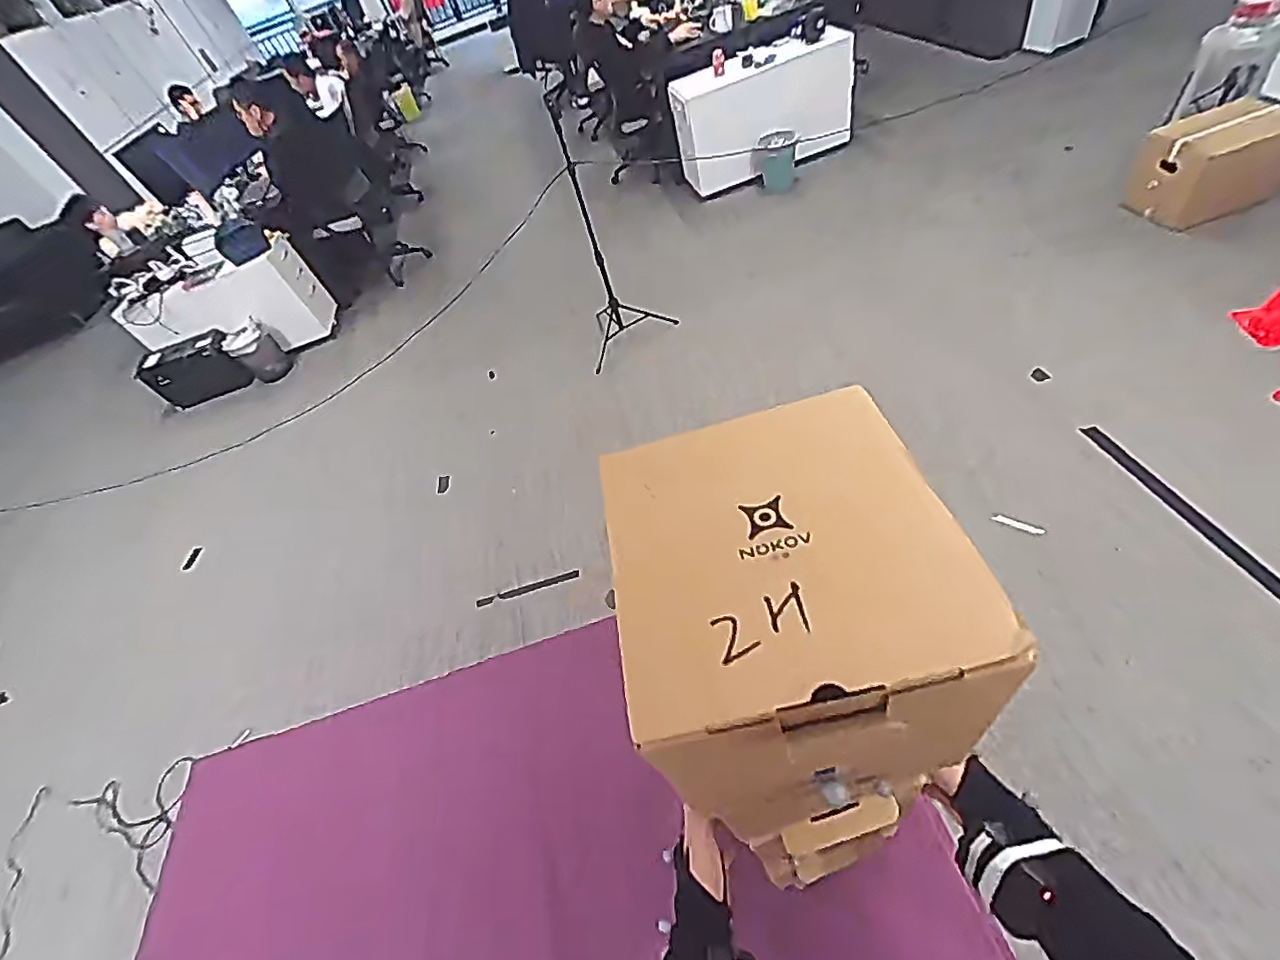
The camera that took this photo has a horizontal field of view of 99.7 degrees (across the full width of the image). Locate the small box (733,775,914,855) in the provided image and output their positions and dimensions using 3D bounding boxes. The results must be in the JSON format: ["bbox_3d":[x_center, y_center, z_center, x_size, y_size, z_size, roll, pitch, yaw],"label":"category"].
[{"bbox_3d":[0.163,0.276,0.579,0.168,0.176,0.179,-21,46,1],"label":"small box"}]

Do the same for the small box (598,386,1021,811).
[{"bbox_3d":[0.080,0.077,0.332,0.168,0.176,0.179,-16,48,6],"label":"small box"}]
